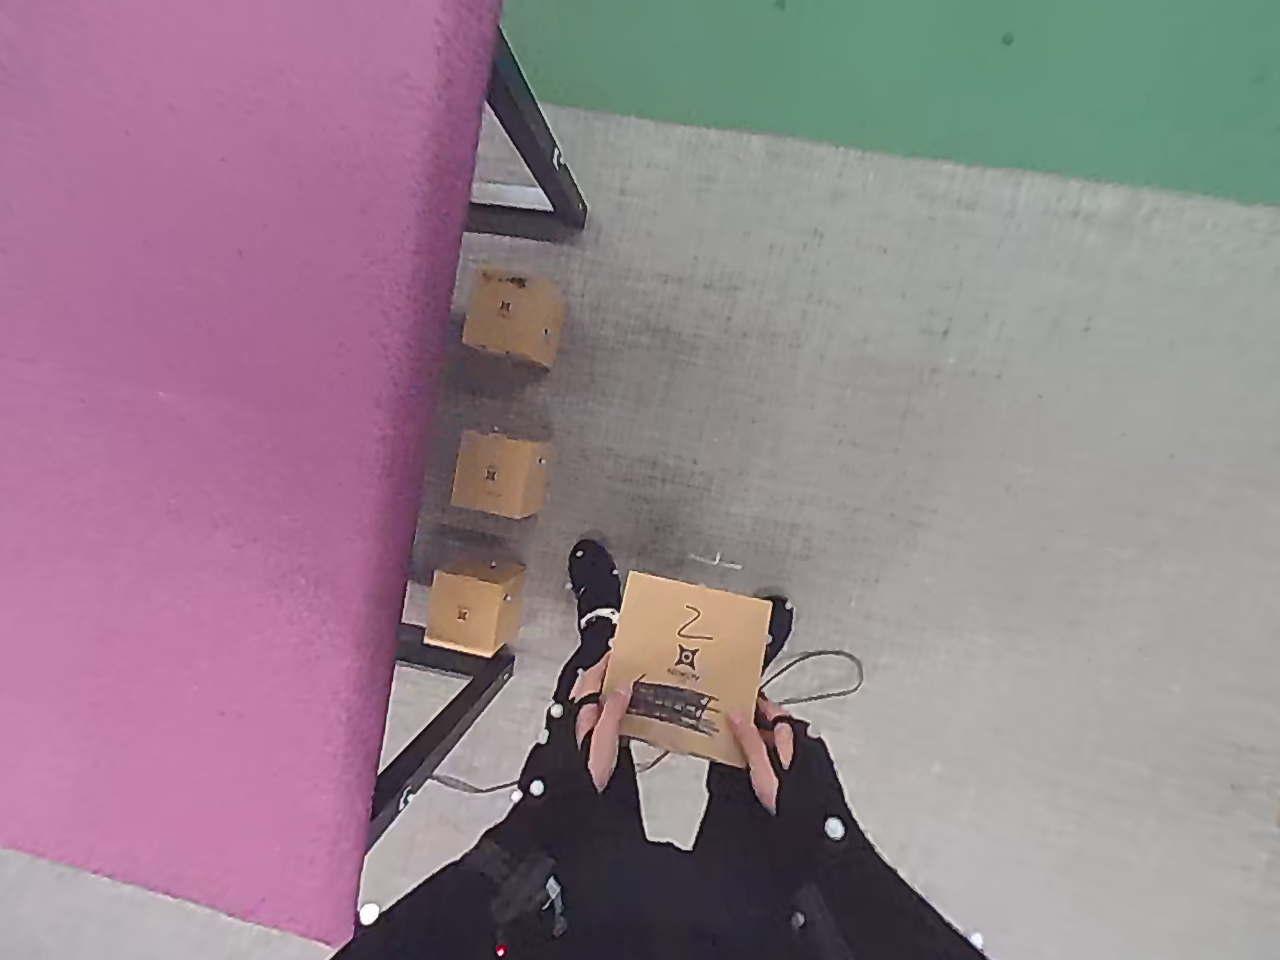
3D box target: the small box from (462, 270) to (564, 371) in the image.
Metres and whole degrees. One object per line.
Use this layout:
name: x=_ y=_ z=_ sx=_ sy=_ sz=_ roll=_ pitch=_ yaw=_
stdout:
small box: x=-0.286 y=-0.360 z=1.250 sx=0.168 sy=0.176 sz=0.179 roll=13 pitch=95 yaw=6

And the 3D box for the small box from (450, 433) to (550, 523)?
small box: x=-0.320 y=-0.009 z=1.273 sx=0.168 sy=0.176 sz=0.179 roll=11 pitch=95 yaw=7

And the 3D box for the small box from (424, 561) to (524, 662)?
small box: x=-0.391 y=0.308 z=1.298 sx=0.168 sy=0.176 sz=0.179 roll=10 pitch=94 yaw=7
